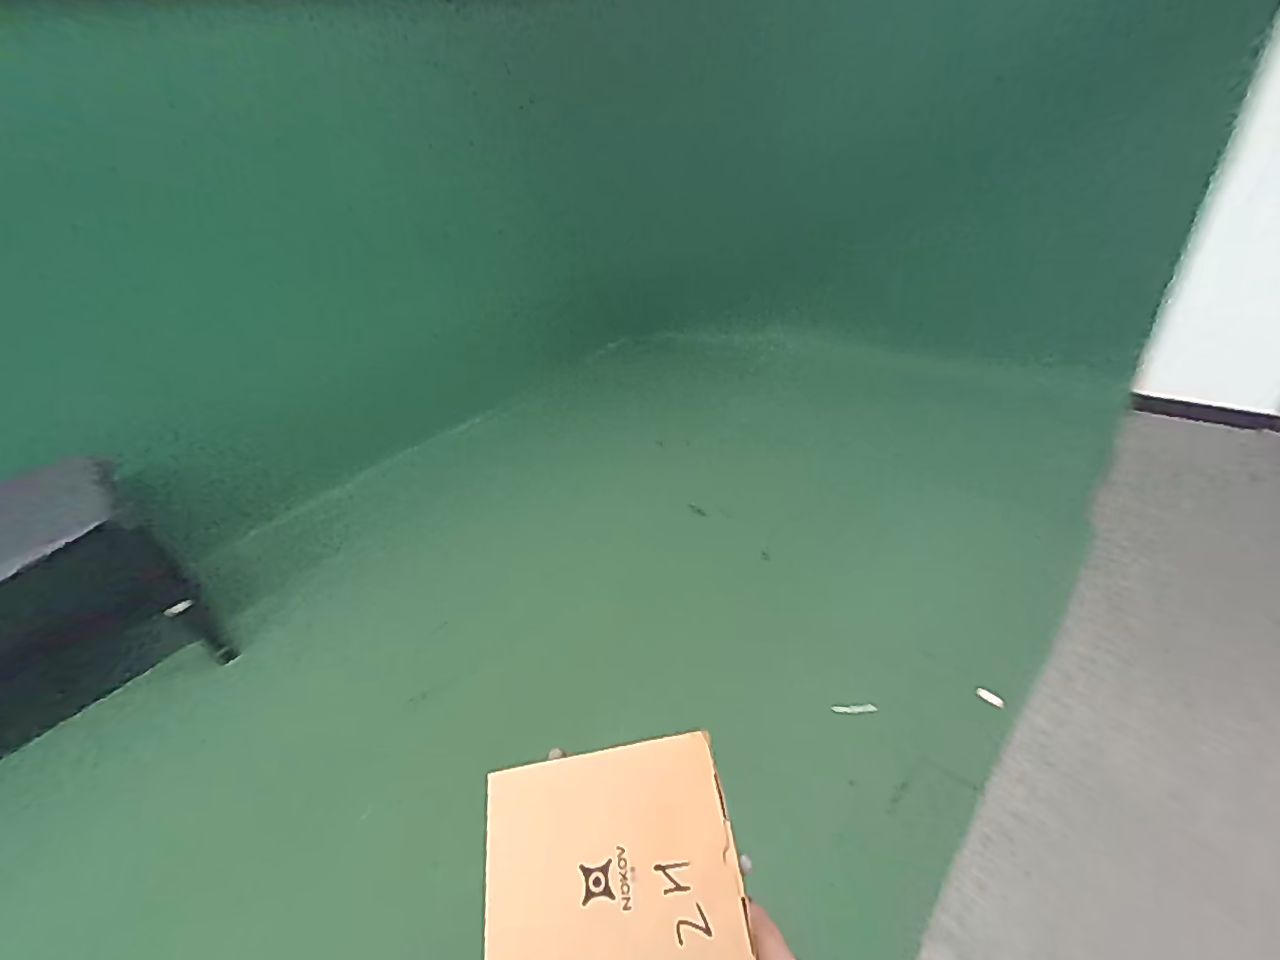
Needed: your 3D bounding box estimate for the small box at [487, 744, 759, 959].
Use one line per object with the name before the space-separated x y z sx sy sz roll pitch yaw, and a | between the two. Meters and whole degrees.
small box | -0.006 0.325 0.424 0.179 0.176 0.168 -10 53 2
